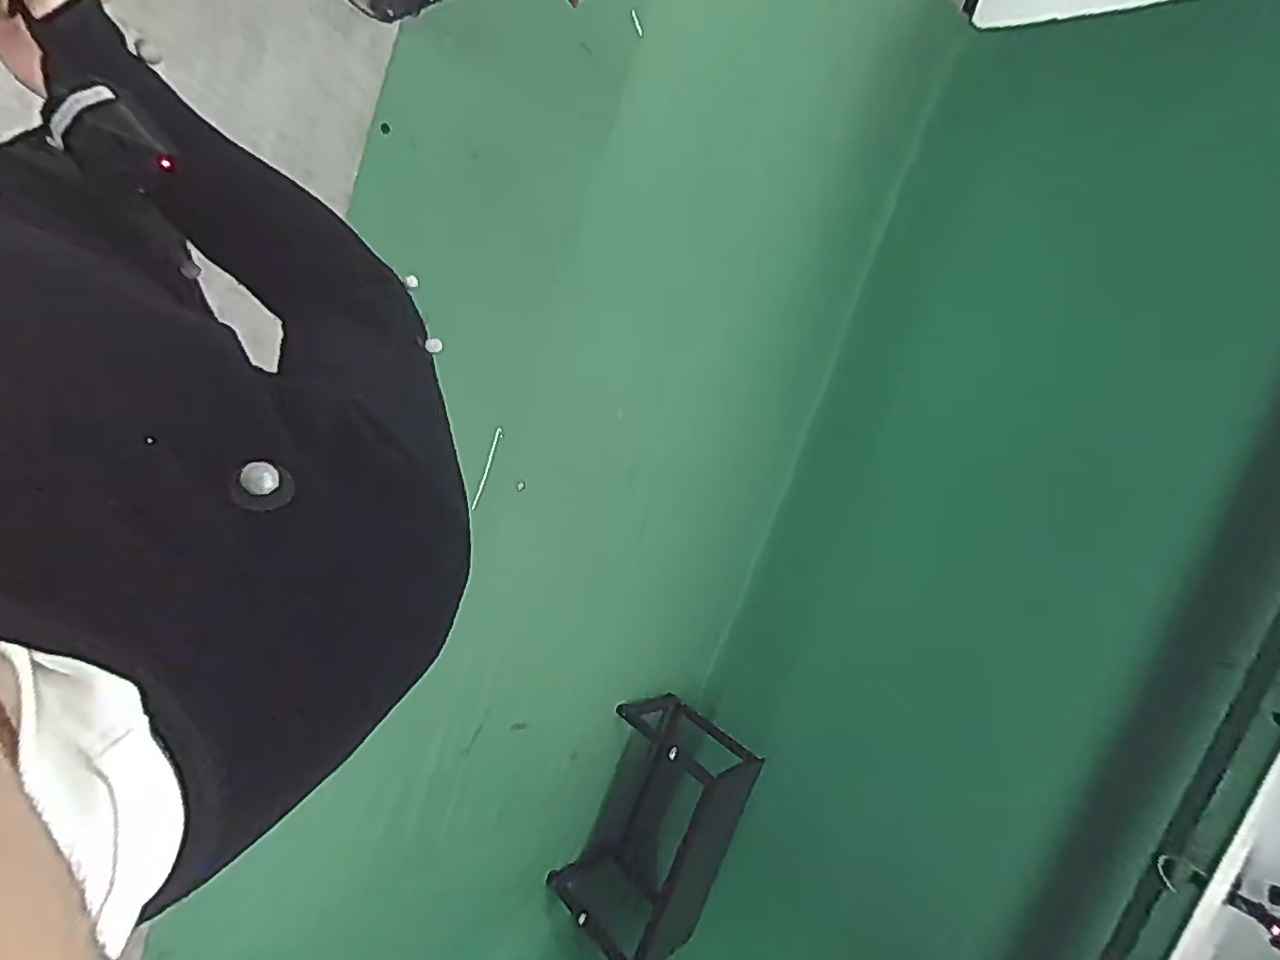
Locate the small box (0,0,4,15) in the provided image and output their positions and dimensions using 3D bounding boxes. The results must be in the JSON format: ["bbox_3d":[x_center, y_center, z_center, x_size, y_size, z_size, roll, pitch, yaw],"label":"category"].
[{"bbox_3d":[-0.543,-0.451,0.351,0.168,0.176,0.179,-1,116,-49],"label":"small box"}]
